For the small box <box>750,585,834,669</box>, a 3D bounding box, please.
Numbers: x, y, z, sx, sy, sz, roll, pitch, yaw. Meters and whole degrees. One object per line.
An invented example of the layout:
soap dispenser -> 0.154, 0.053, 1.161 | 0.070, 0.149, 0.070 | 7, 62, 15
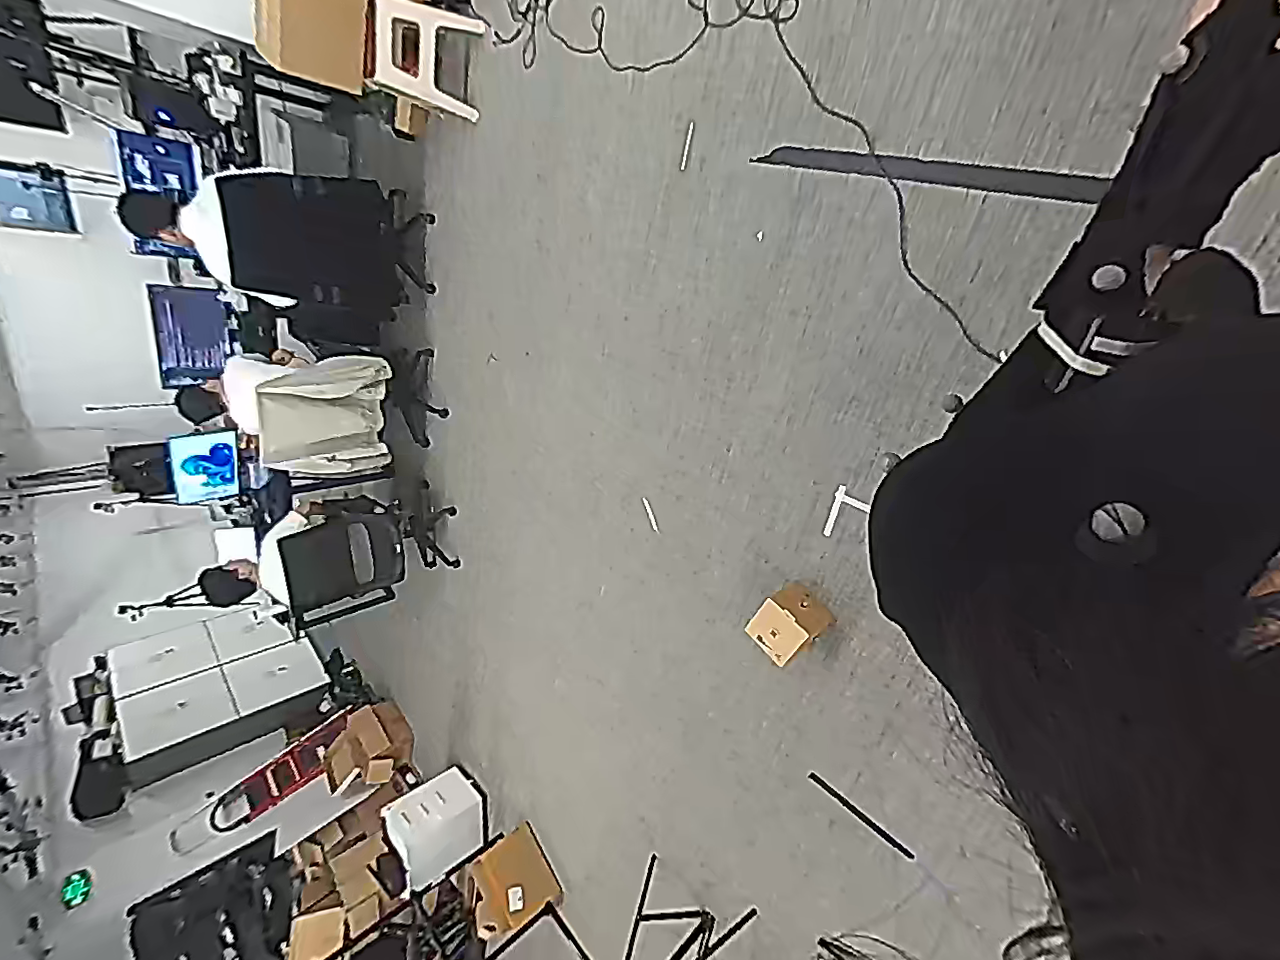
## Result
small box -> 0.491, 0.463, 1.731 | 0.168, 0.176, 0.179 | 46, 128, 29
